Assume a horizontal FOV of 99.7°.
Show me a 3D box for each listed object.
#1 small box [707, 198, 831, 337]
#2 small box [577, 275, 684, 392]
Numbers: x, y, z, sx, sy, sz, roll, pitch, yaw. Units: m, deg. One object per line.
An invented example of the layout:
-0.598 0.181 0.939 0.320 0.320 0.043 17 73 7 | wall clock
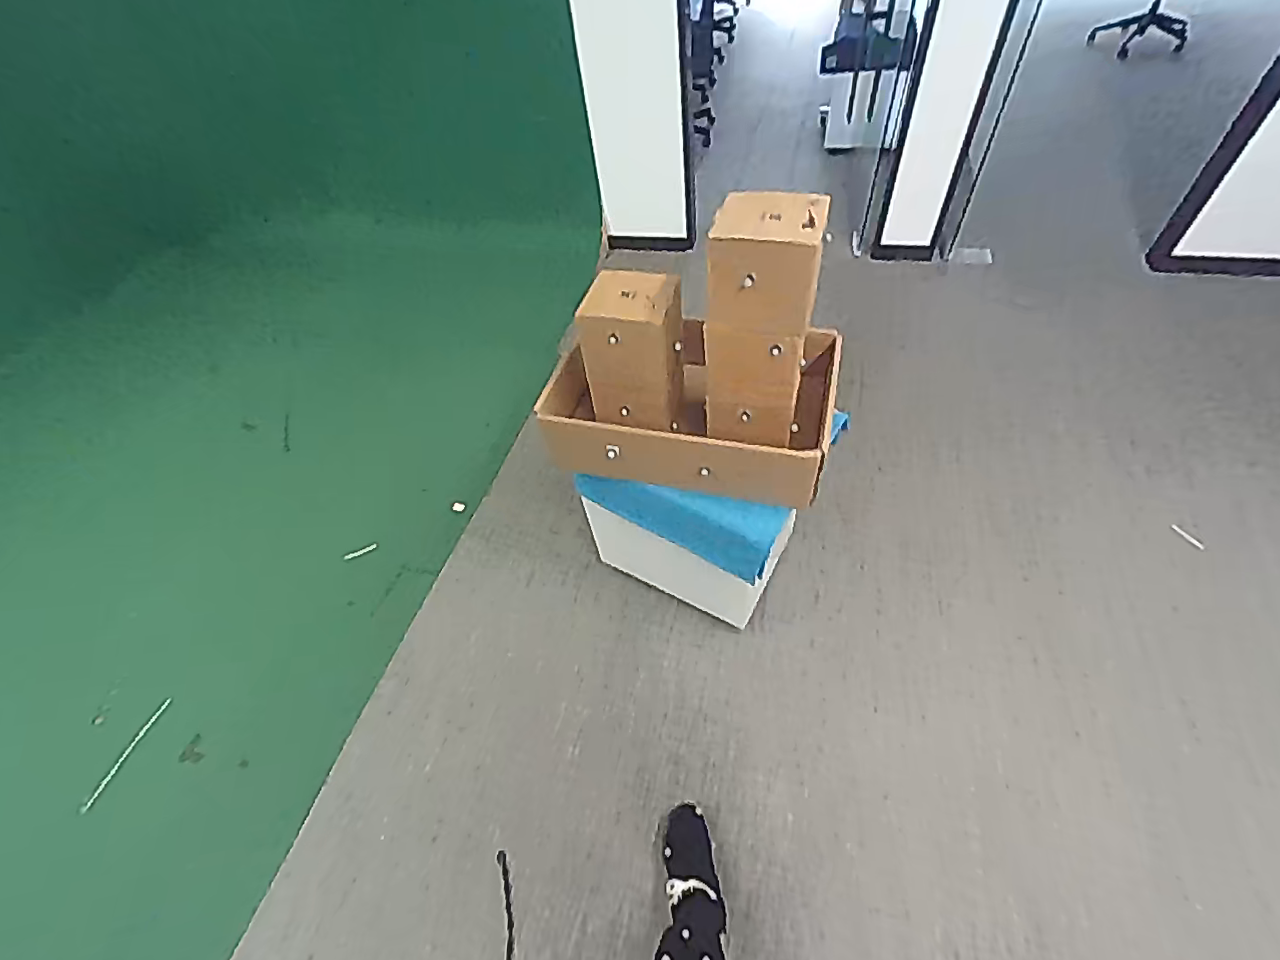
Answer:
0.223 -0.368 0.942 0.179 0.176 0.168 10 53 17 | small box
-0.011 -0.304 1.130 0.179 0.176 0.168 10 53 14 | small box
